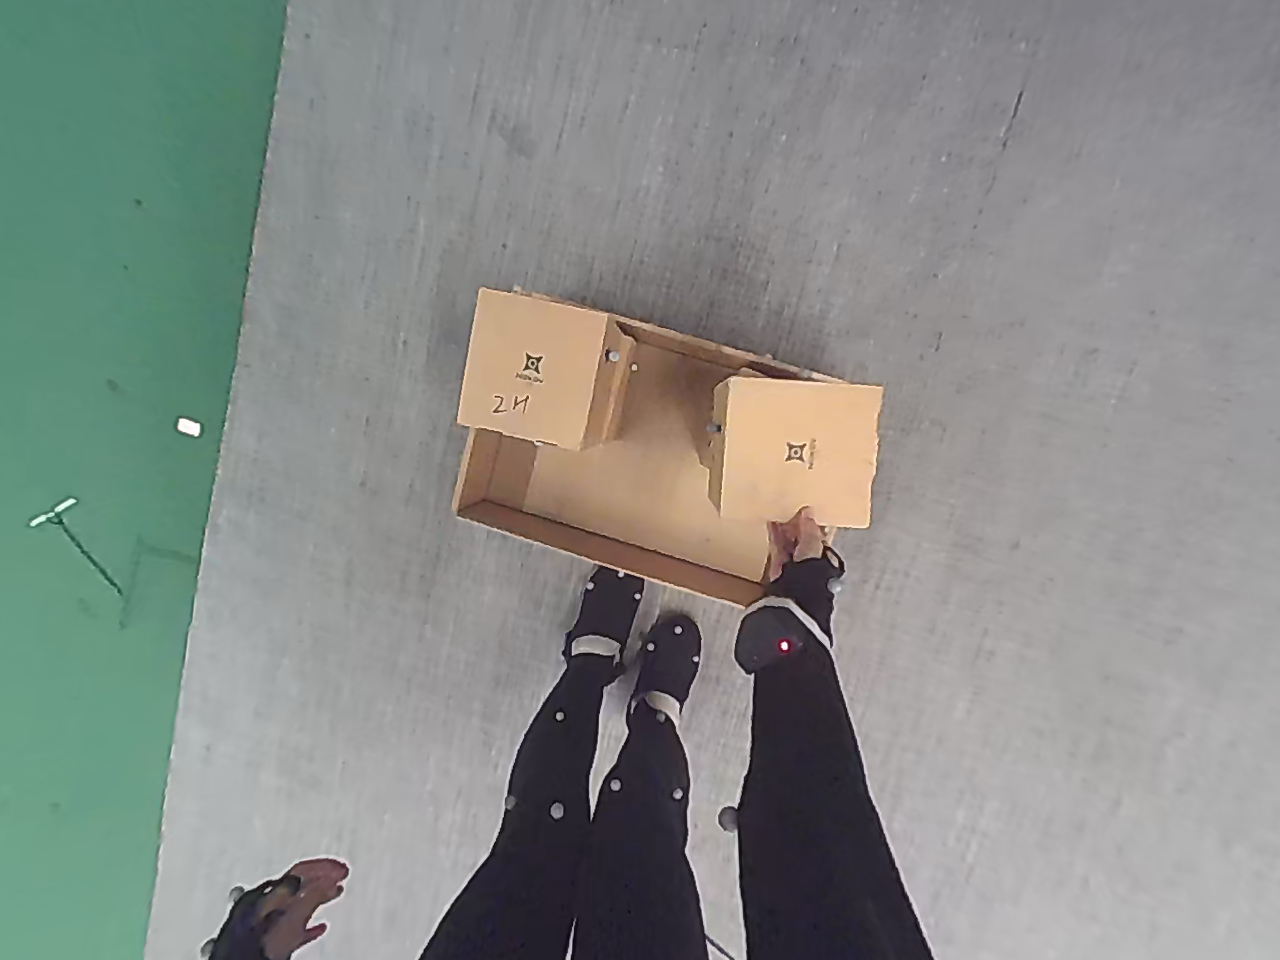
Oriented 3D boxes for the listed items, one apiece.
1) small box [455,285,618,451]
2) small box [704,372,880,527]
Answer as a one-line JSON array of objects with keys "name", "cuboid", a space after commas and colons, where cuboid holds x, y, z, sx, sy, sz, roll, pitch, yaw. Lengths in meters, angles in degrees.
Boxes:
[{"name": "small box", "cuboid": [-0.132, -0.149, 0.752, 0.168, 0.176, 0.179, 14, 99, 4]}, {"name": "small box", "cuboid": [0.181, -0.041, 0.699, 0.179, 0.176, 0.168, 5, 96, 1]}]
